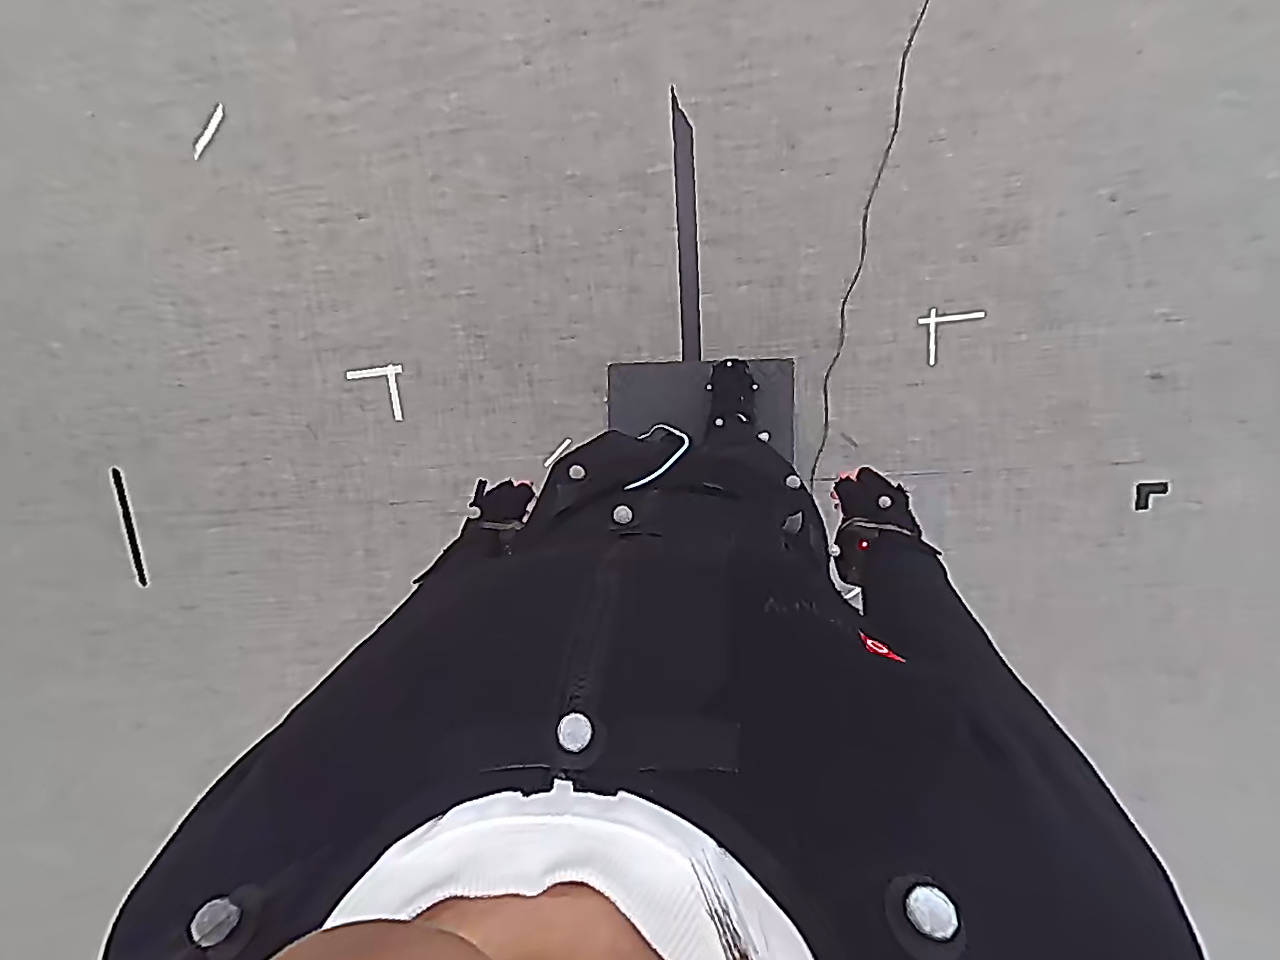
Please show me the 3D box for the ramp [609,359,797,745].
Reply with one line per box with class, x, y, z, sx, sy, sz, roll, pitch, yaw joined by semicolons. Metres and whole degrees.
ramp;0.159;0.185;1.431;0.509;0.206;0.991;-2;99;9
